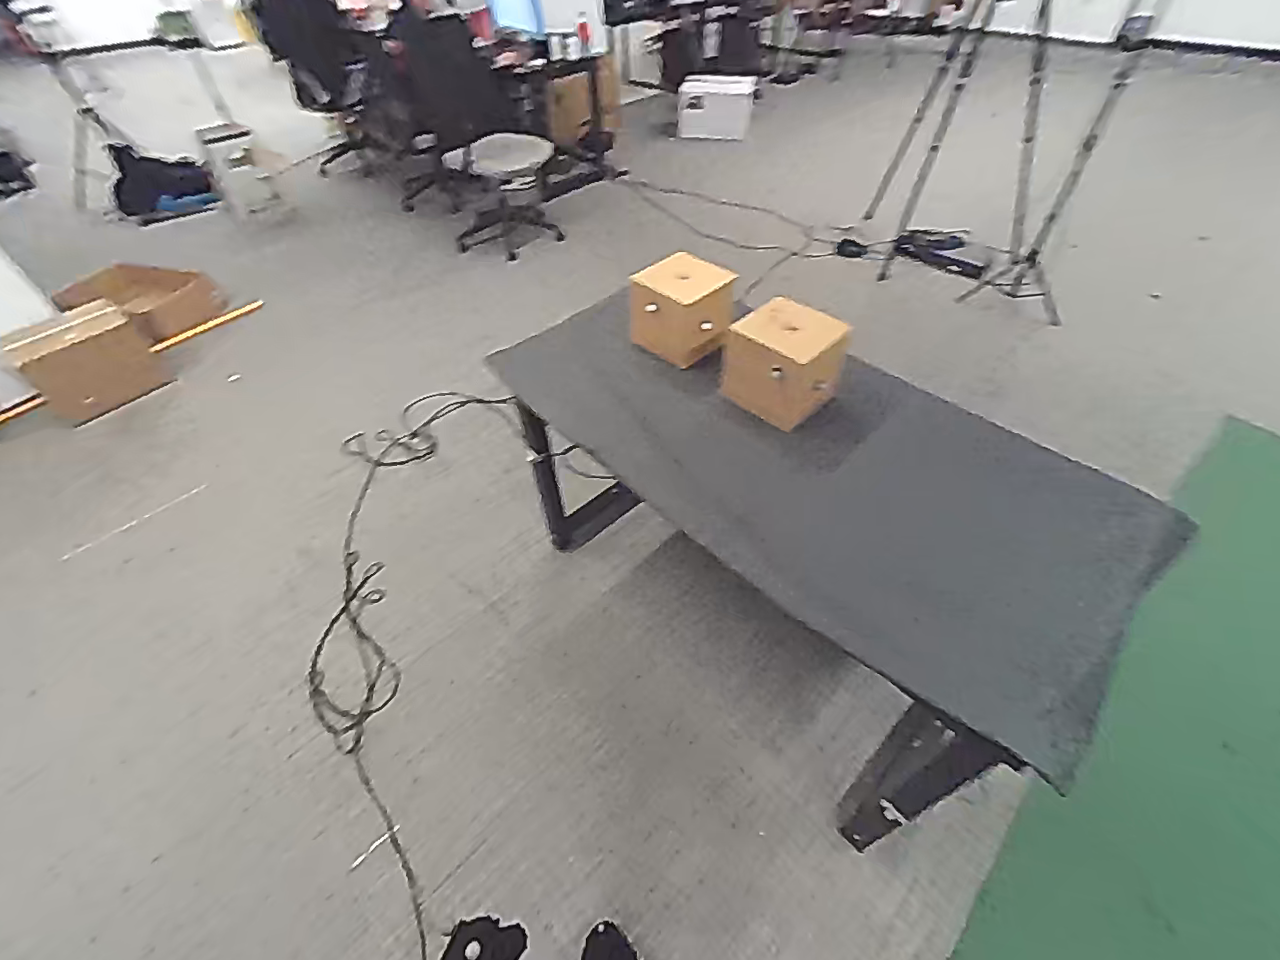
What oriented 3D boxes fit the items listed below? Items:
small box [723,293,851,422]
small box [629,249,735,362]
[{"bbox_3d":[0.286,-0.241,1.086,0.168,0.176,0.179,-37,56,-27],"label":"small box"},{"bbox_3d":[0.095,-0.394,1.236,0.168,0.176,0.179,-37,56,-26],"label":"small box"}]
